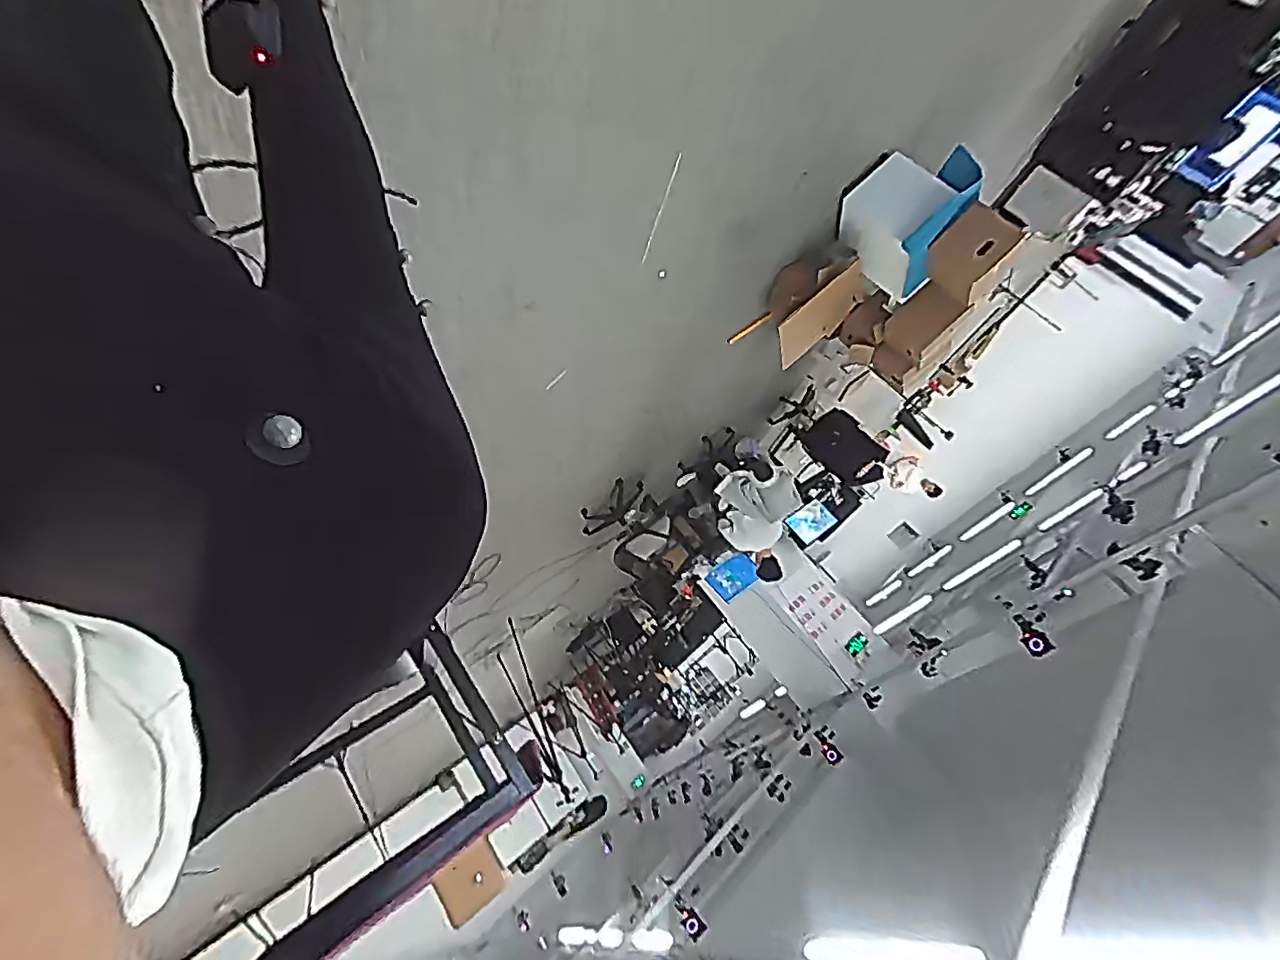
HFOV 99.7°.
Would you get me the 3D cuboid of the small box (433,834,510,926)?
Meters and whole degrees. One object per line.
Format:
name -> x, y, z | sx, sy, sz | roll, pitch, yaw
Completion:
small box -> -0.531, 1.244, 1.690 | 0.168, 0.176, 0.179 | -25, 158, -36
